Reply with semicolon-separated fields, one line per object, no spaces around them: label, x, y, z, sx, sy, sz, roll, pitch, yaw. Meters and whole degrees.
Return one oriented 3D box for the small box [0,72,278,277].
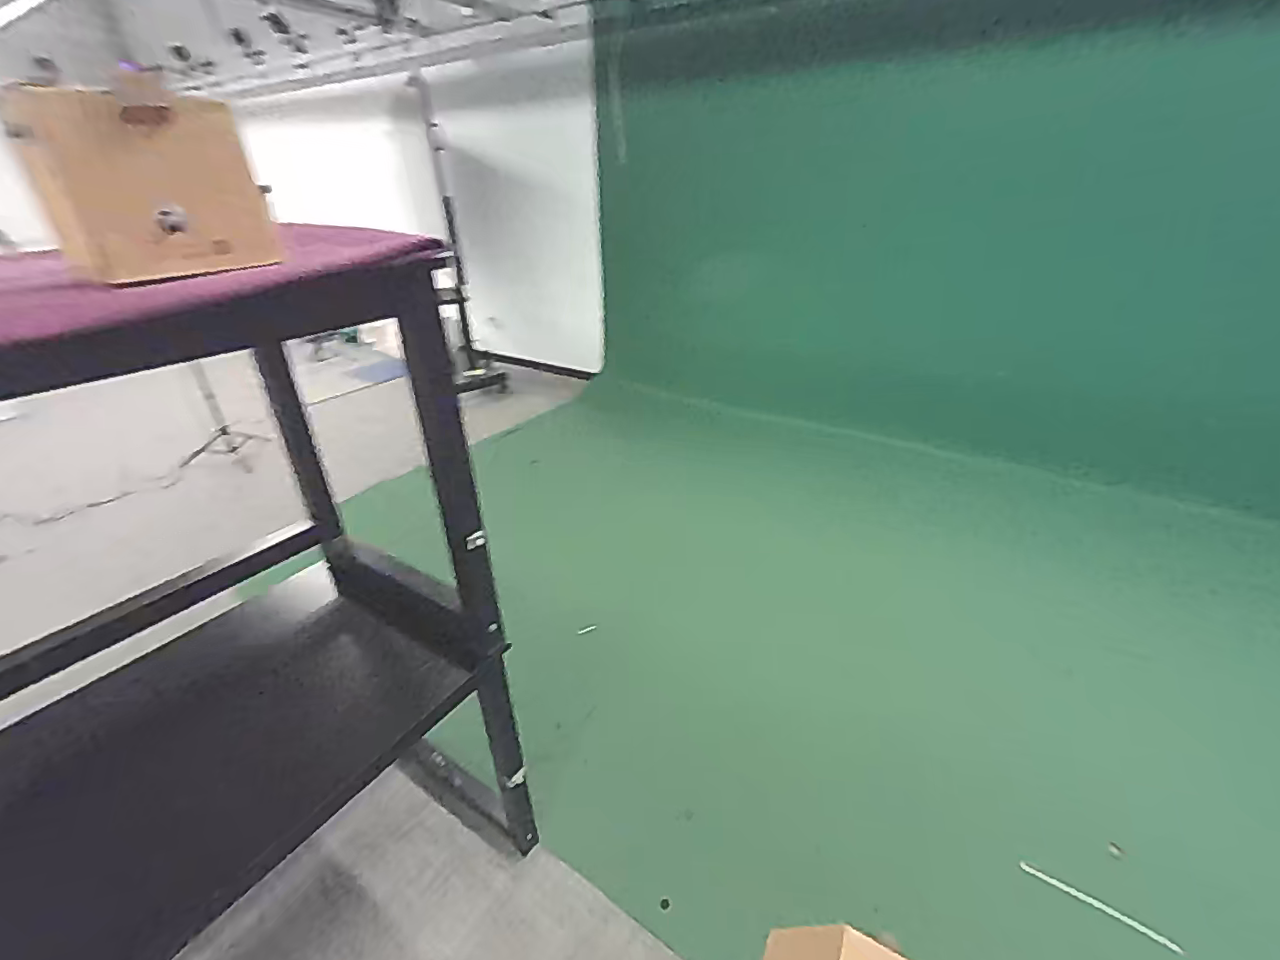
small box;-0.544;-0.323;0.595;0.179;0.176;0.168;18;36;33
